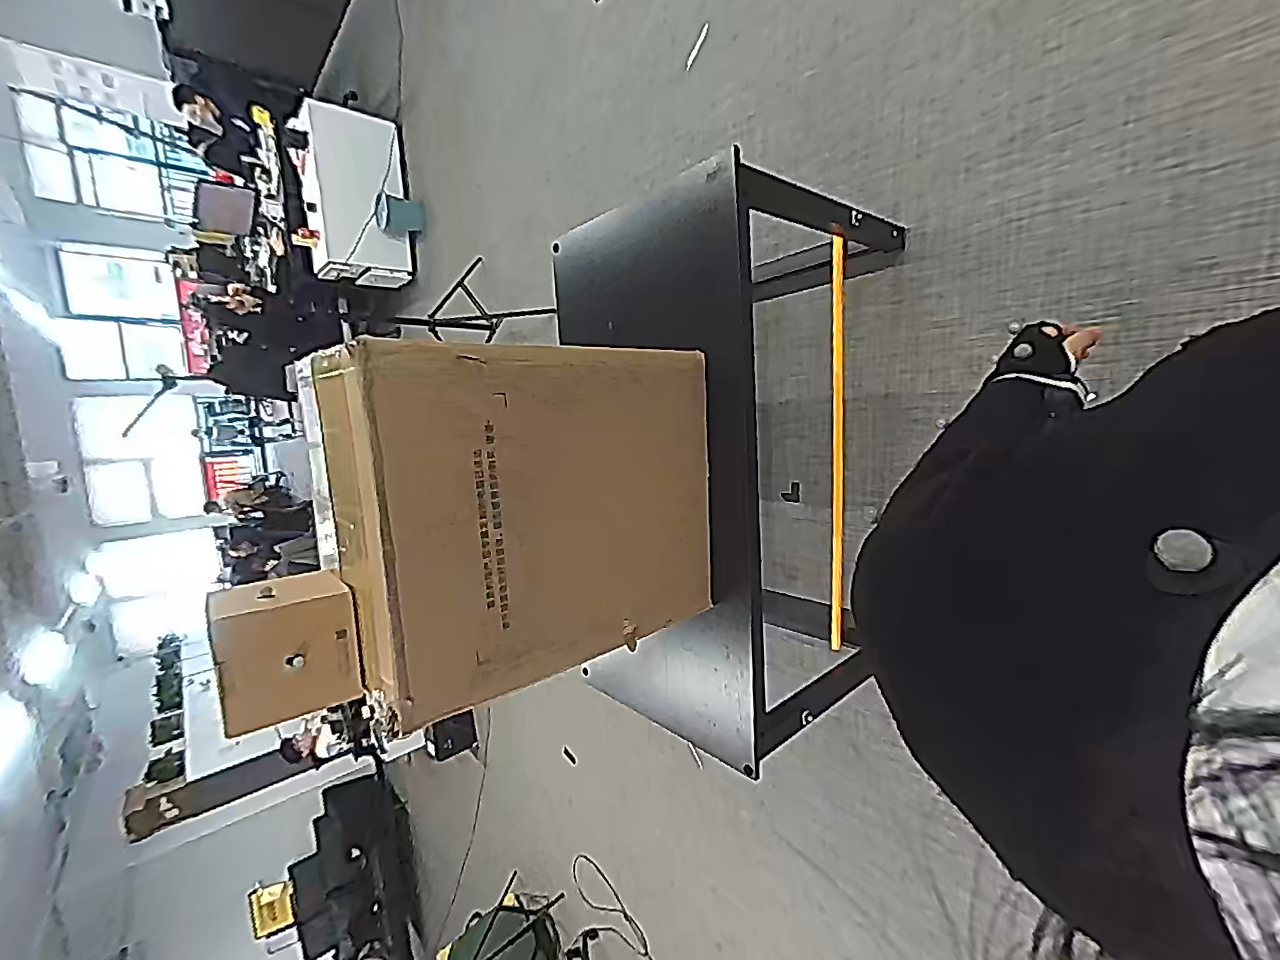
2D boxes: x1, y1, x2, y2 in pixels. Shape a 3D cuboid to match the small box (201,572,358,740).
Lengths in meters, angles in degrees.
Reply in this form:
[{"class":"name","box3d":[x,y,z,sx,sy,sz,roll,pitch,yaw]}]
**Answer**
[{"class":"small box","box3d":[-0.531,0.244,0.804,0.179,0.176,0.168,4,99,50]}]
